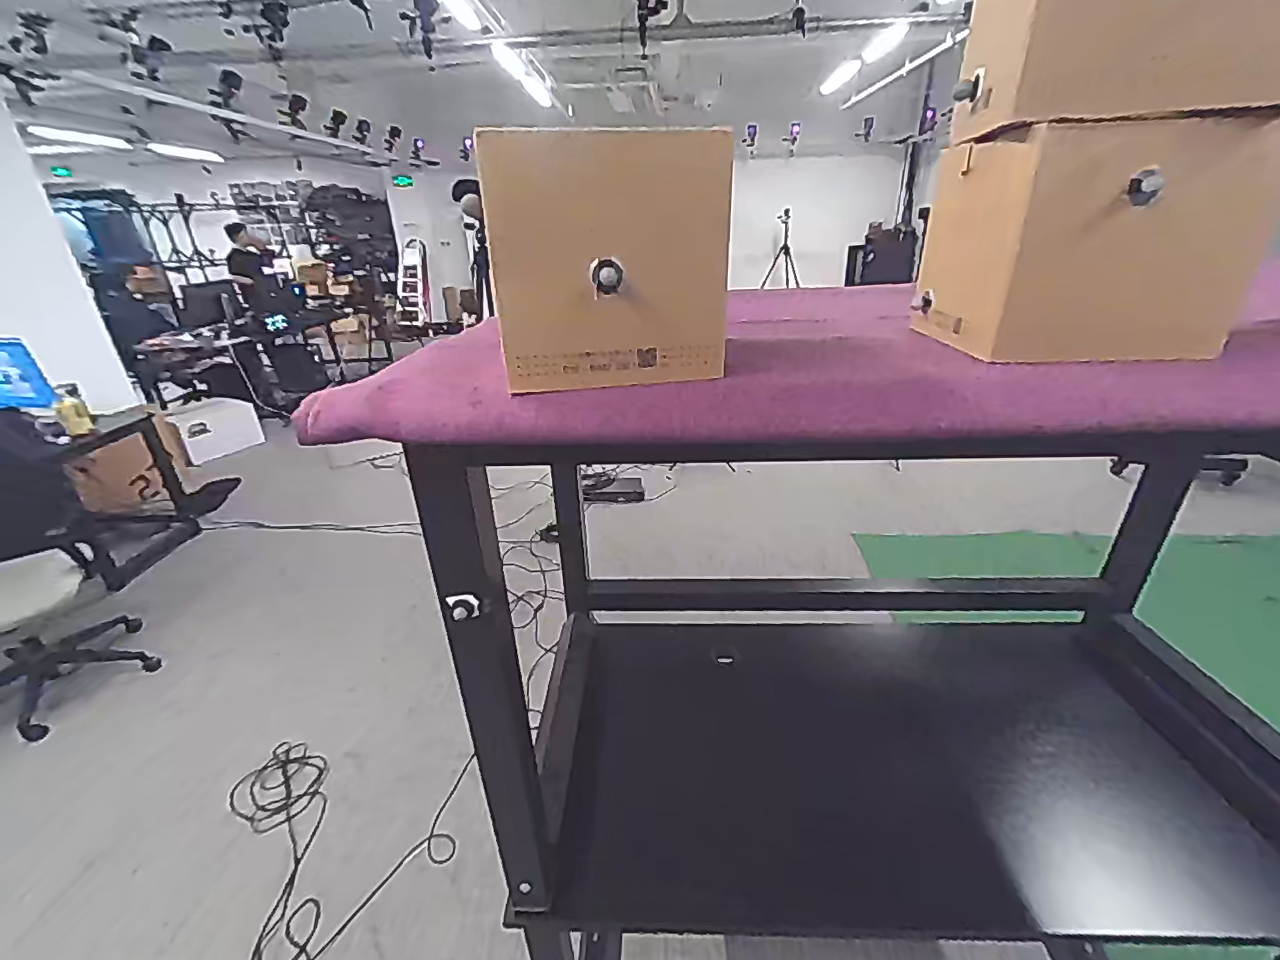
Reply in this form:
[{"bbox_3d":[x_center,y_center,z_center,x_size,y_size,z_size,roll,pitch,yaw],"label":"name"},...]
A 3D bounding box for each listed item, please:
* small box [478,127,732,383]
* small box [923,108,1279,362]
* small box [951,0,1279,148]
[{"bbox_3d":[-0.031,-0.181,0.446,0.168,0.176,0.179,-5,26,-9],"label":"small box"},{"bbox_3d":[0.366,-0.201,0.464,0.179,0.176,0.168,0,26,3],"label":"small box"},{"bbox_3d":[0.356,-0.347,0.394,0.179,0.176,0.168,3,26,13],"label":"small box"}]
